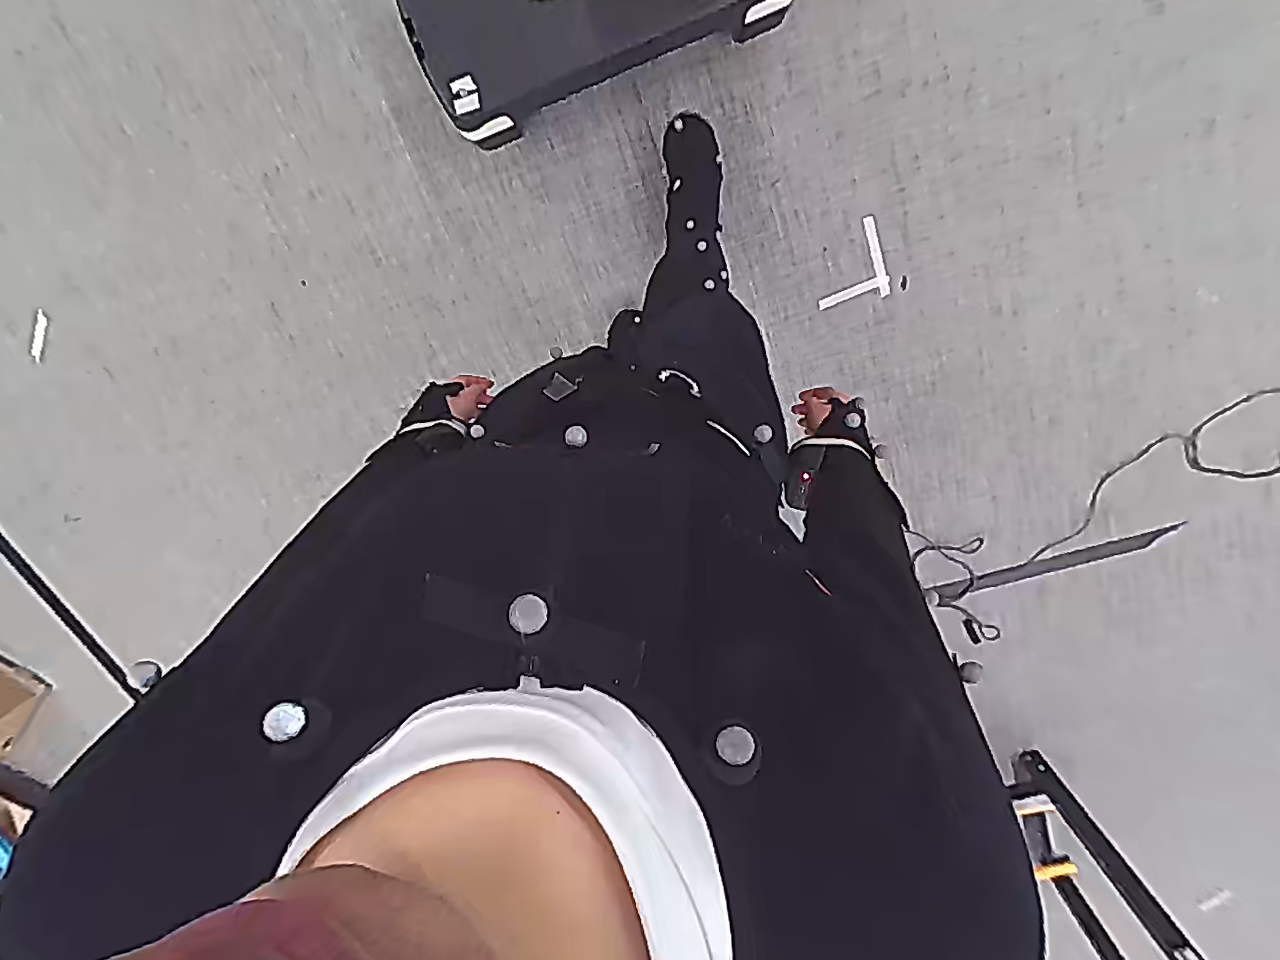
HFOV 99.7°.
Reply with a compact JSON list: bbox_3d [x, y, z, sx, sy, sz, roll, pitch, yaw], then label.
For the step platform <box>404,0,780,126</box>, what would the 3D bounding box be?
[{"bbox_3d":[-0.069,-0.901,0.933,0.684,0.204,0.286,-18,110,9],"label":"step platform"}]
